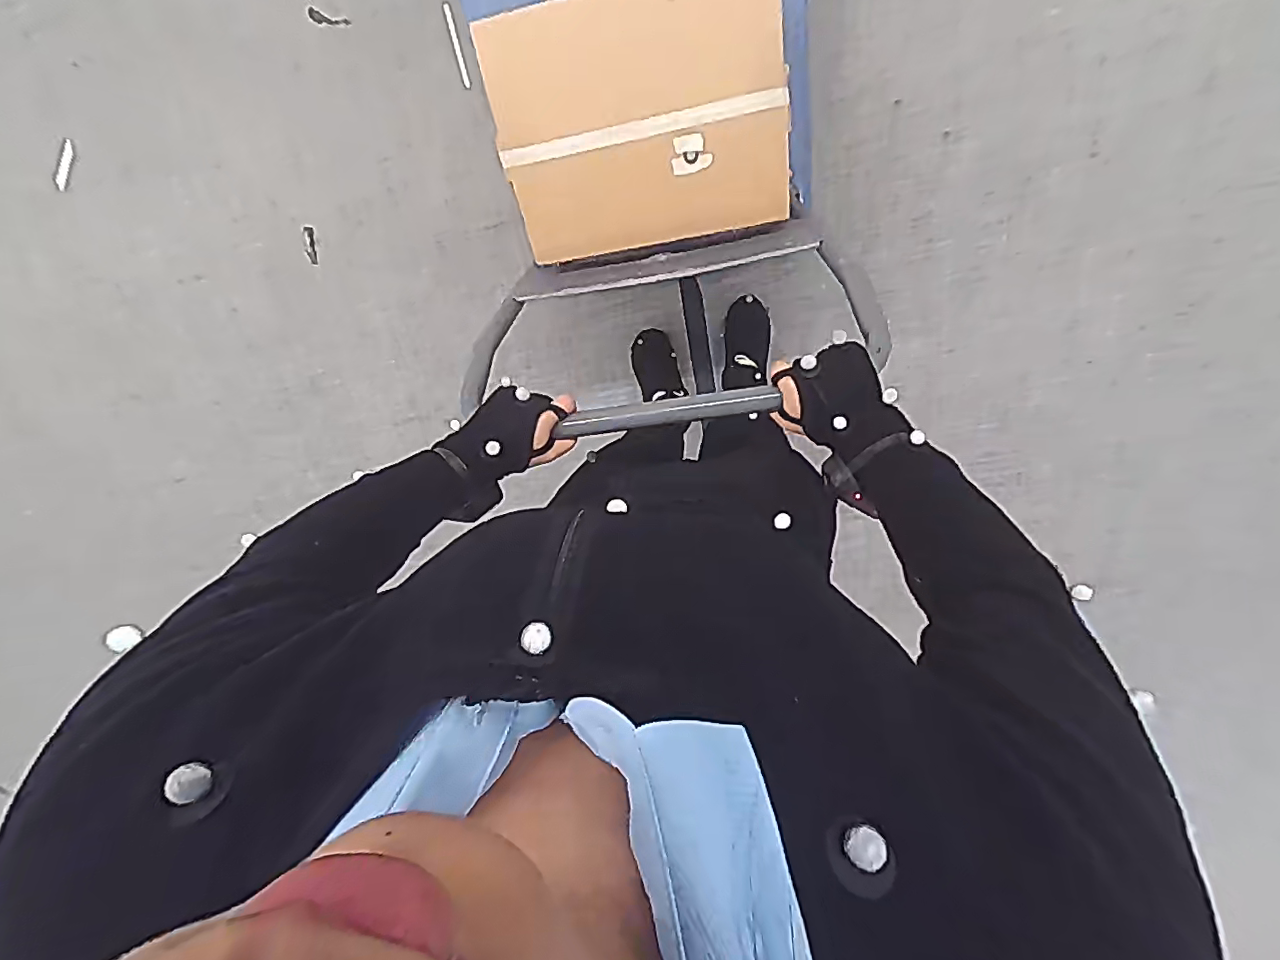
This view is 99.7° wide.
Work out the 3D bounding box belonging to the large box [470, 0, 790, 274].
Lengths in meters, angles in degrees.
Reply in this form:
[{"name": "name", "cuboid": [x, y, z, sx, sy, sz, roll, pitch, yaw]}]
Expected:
[{"name": "large box", "cuboid": [0.005, -0.564, 0.875, 0.408, 0.320, 0.320, -8, 125, 8]}]
